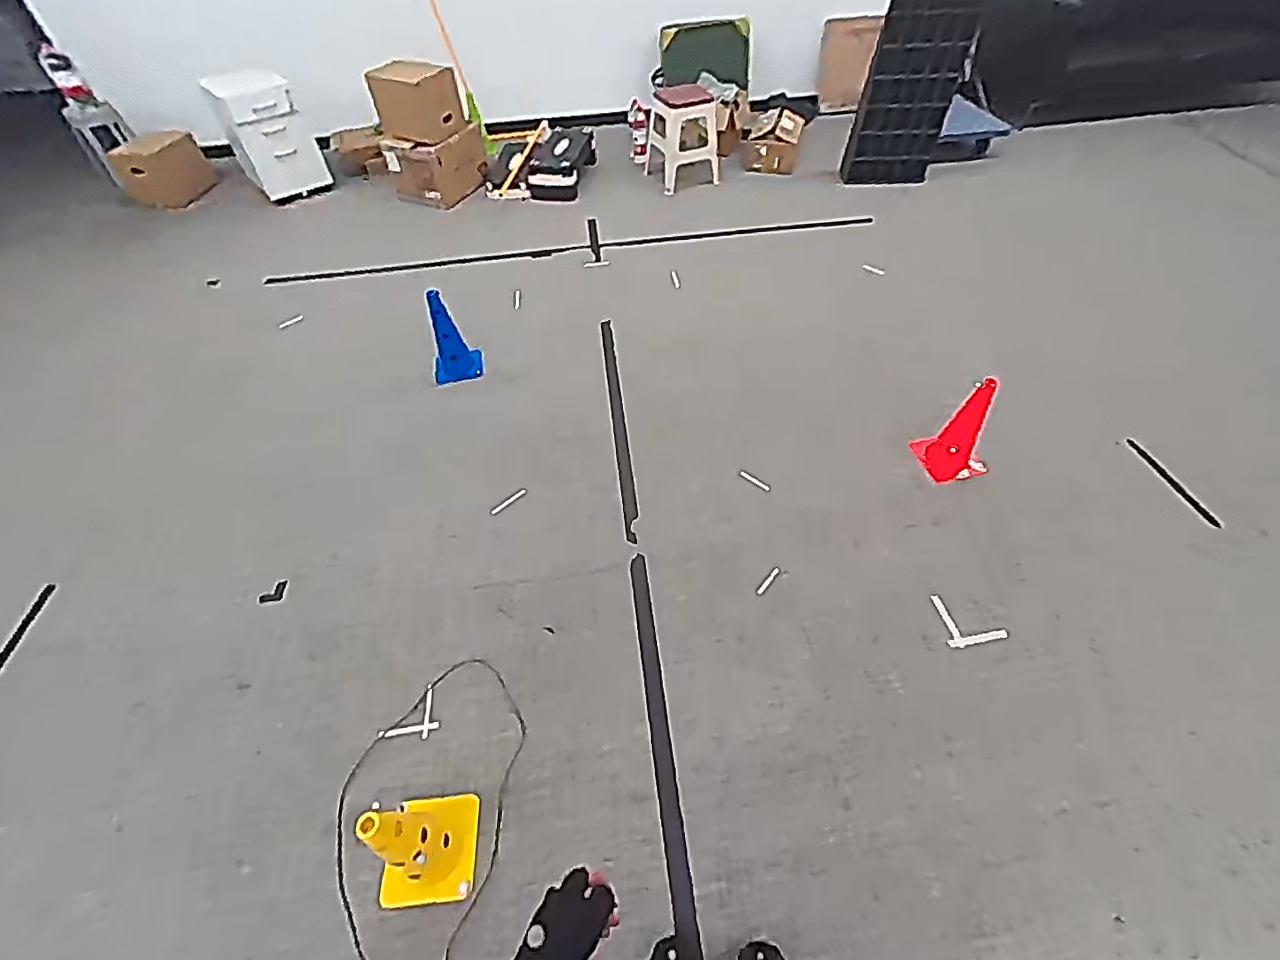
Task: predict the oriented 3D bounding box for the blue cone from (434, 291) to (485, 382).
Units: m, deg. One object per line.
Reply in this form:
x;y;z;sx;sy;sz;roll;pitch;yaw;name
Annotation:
-0.780;-0.599;2.222;0.192;0.380;0.193;-11;50;-6;blue cone

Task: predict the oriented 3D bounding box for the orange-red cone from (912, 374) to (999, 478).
1.087;-0.201;1.789;0.198;0.360;0.199;-10;49;-6;orange-red cone
